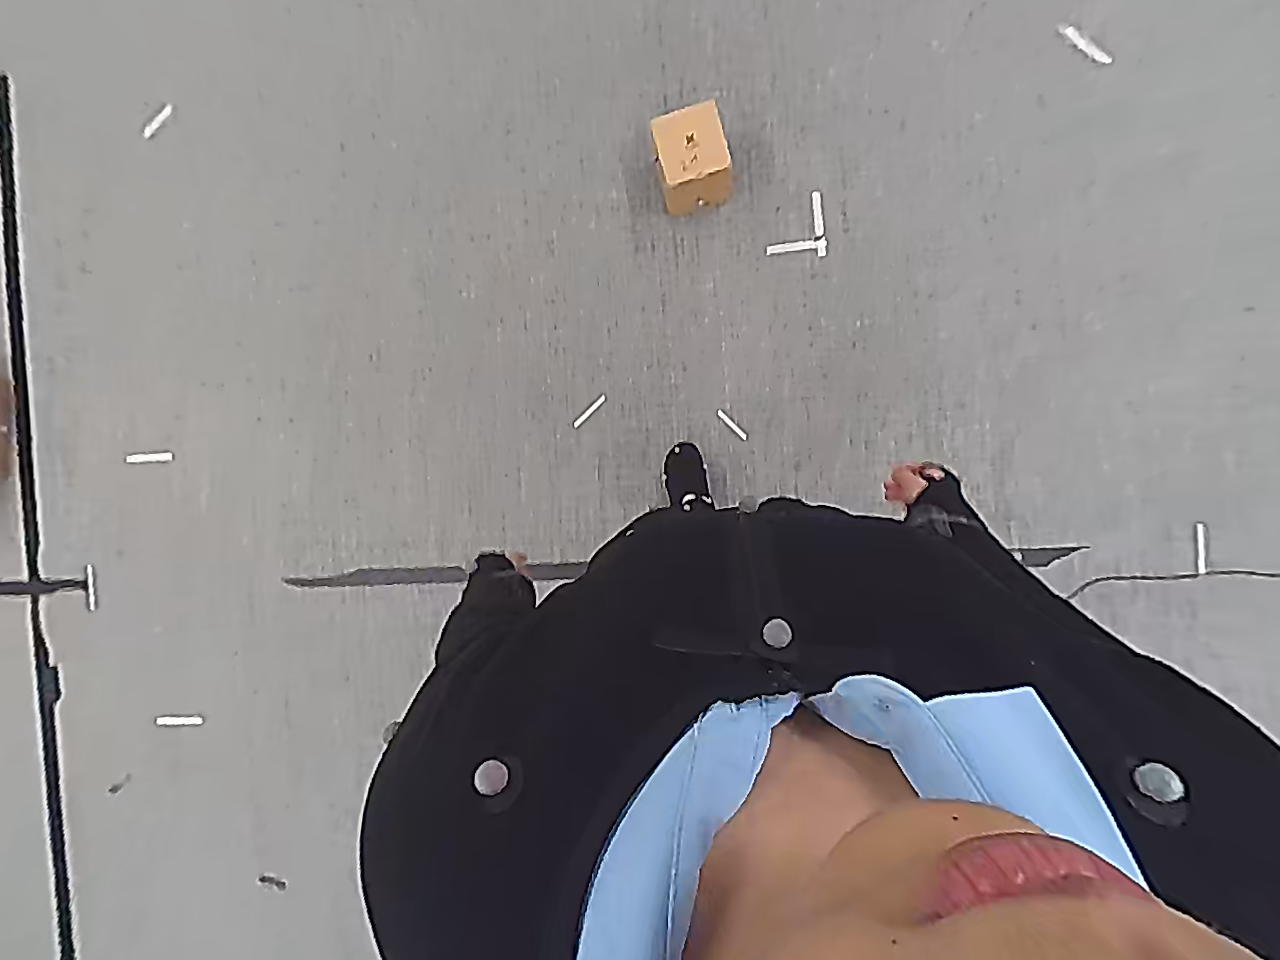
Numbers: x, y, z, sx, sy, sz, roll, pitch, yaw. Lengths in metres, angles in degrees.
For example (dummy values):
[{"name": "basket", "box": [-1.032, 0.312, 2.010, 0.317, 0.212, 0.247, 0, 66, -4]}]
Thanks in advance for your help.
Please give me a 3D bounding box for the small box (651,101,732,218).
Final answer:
[{"name": "small box", "box": [0.132, -0.820, 1.400, 0.168, 0.176, 0.179, -16, 89, 6]}]
